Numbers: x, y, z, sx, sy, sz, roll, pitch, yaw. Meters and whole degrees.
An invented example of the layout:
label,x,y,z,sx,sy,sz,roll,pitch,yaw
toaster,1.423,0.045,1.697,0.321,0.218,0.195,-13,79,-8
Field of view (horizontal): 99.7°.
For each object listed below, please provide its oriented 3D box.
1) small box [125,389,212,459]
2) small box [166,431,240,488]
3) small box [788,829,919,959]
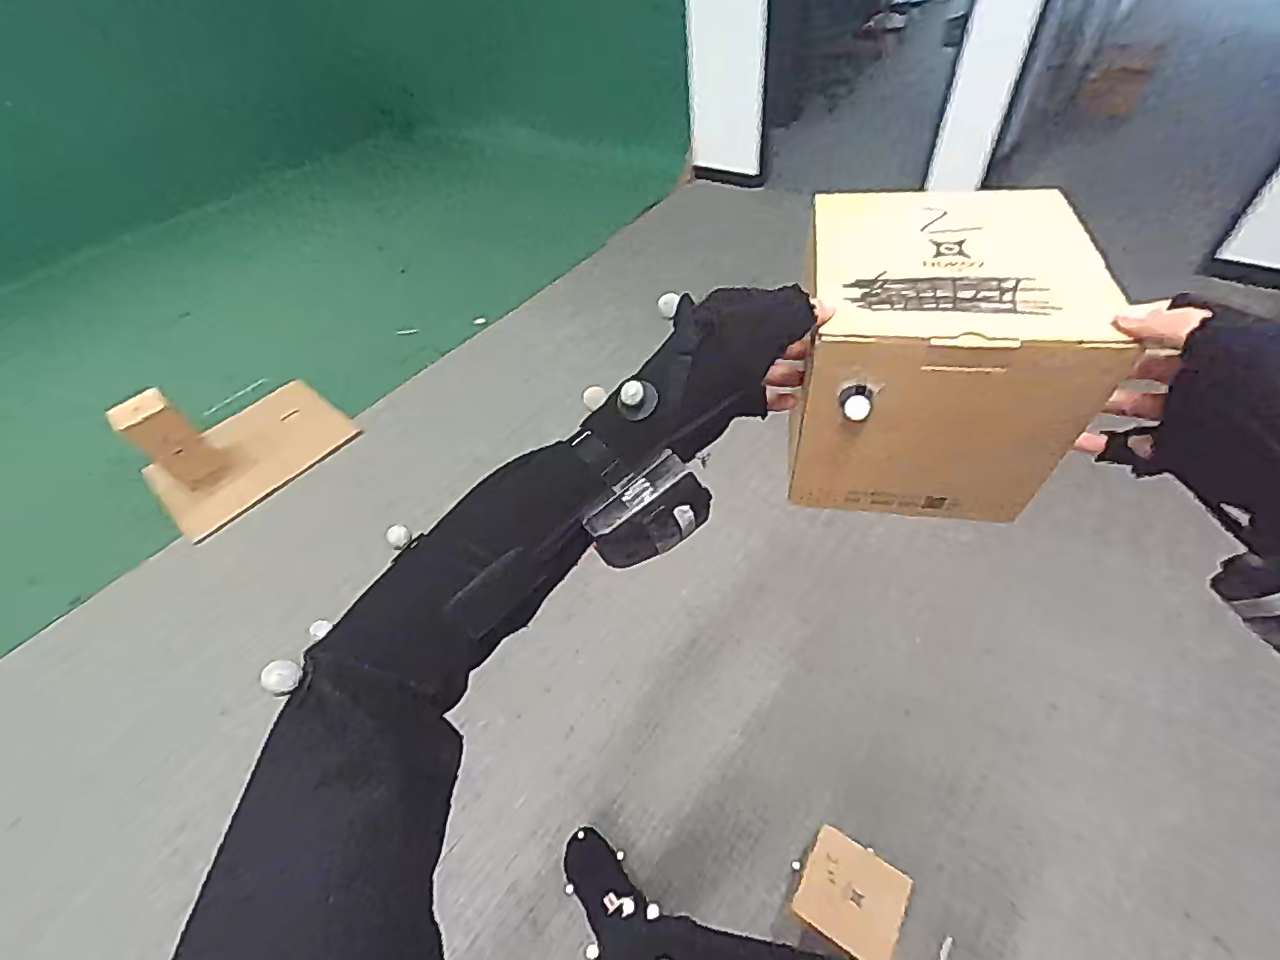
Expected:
label,x,y,z,sx,sy,sz,roll,pitch,yaw
small box,-1.772,-0.208,2.035,0.179,0.176,0.168,34,62,31
small box,-1.746,-0.095,2.150,0.179,0.176,0.168,32,62,31
small box,0.408,0.826,1.054,0.179,0.176,0.168,24,57,26
